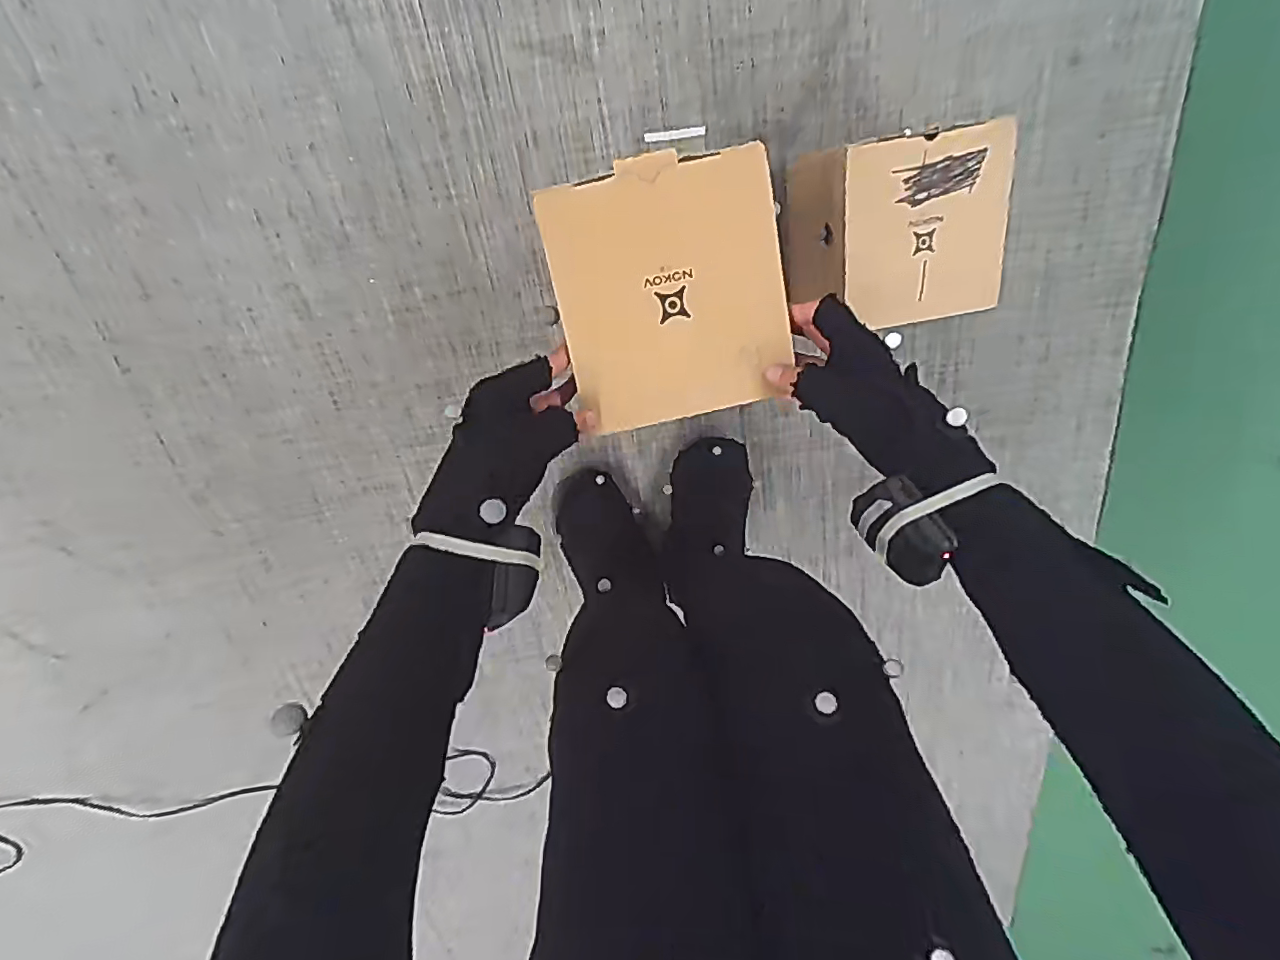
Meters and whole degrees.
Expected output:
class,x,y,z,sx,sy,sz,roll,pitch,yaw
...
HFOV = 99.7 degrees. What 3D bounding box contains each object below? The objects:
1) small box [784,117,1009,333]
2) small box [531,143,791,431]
class,x,y,z,sx,sy,sz,roll,pitch,yaw
small box,0.270,-0.278,0.608,0.168,0.176,0.179,-11,115,-1
small box,0.016,-0.155,0.471,0.168,0.176,0.179,-13,105,-1
